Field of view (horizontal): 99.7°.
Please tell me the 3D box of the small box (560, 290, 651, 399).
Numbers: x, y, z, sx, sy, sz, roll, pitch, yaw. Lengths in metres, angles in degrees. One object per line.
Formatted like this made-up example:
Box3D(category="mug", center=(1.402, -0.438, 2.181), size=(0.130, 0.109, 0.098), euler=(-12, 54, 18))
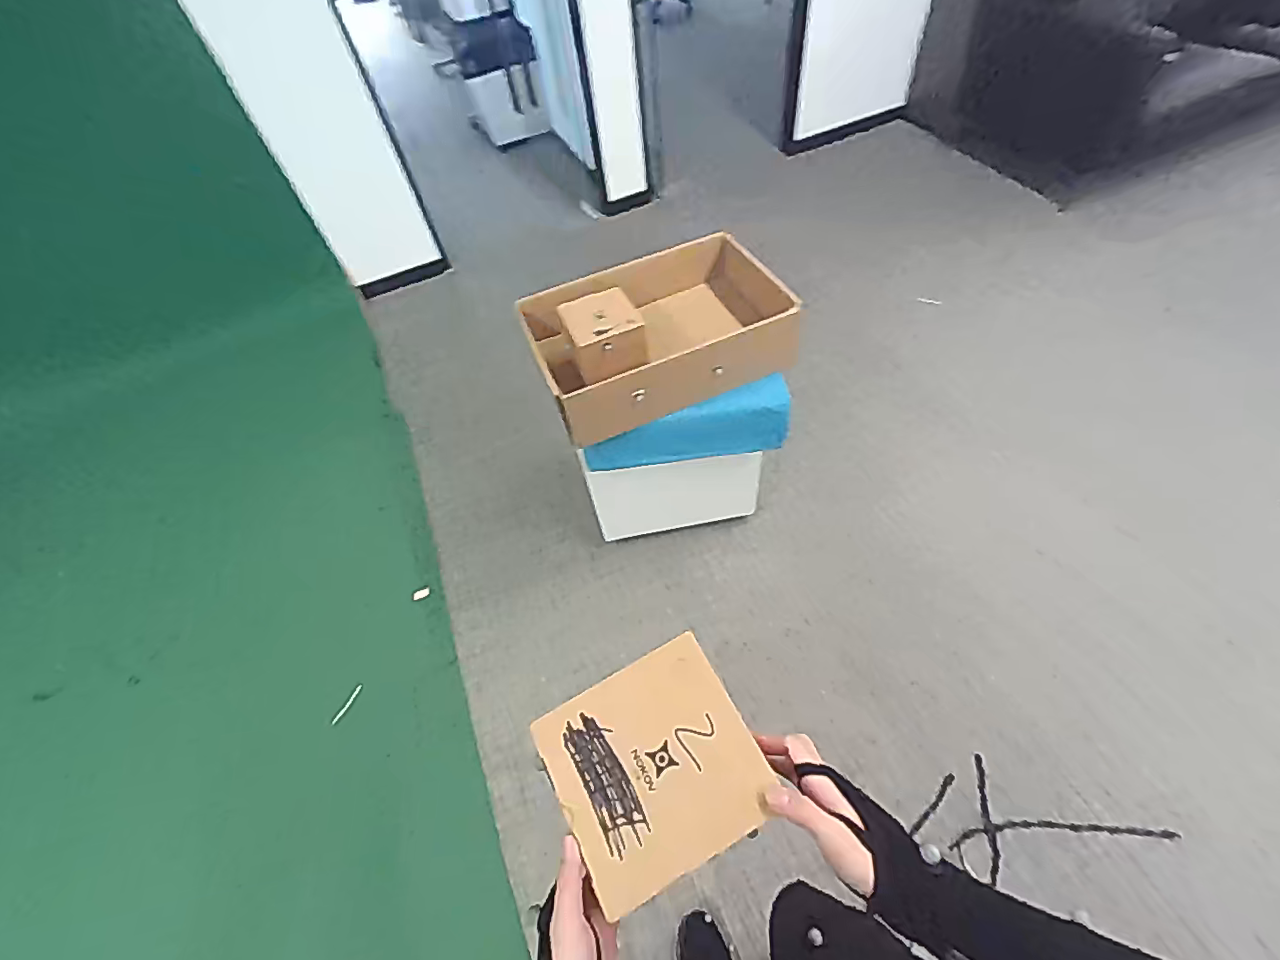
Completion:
Box3D(category="small box", center=(-0.083, -0.333, 1.335), size=(0.168, 0.176, 0.179), euler=(-22, 53, -9))
